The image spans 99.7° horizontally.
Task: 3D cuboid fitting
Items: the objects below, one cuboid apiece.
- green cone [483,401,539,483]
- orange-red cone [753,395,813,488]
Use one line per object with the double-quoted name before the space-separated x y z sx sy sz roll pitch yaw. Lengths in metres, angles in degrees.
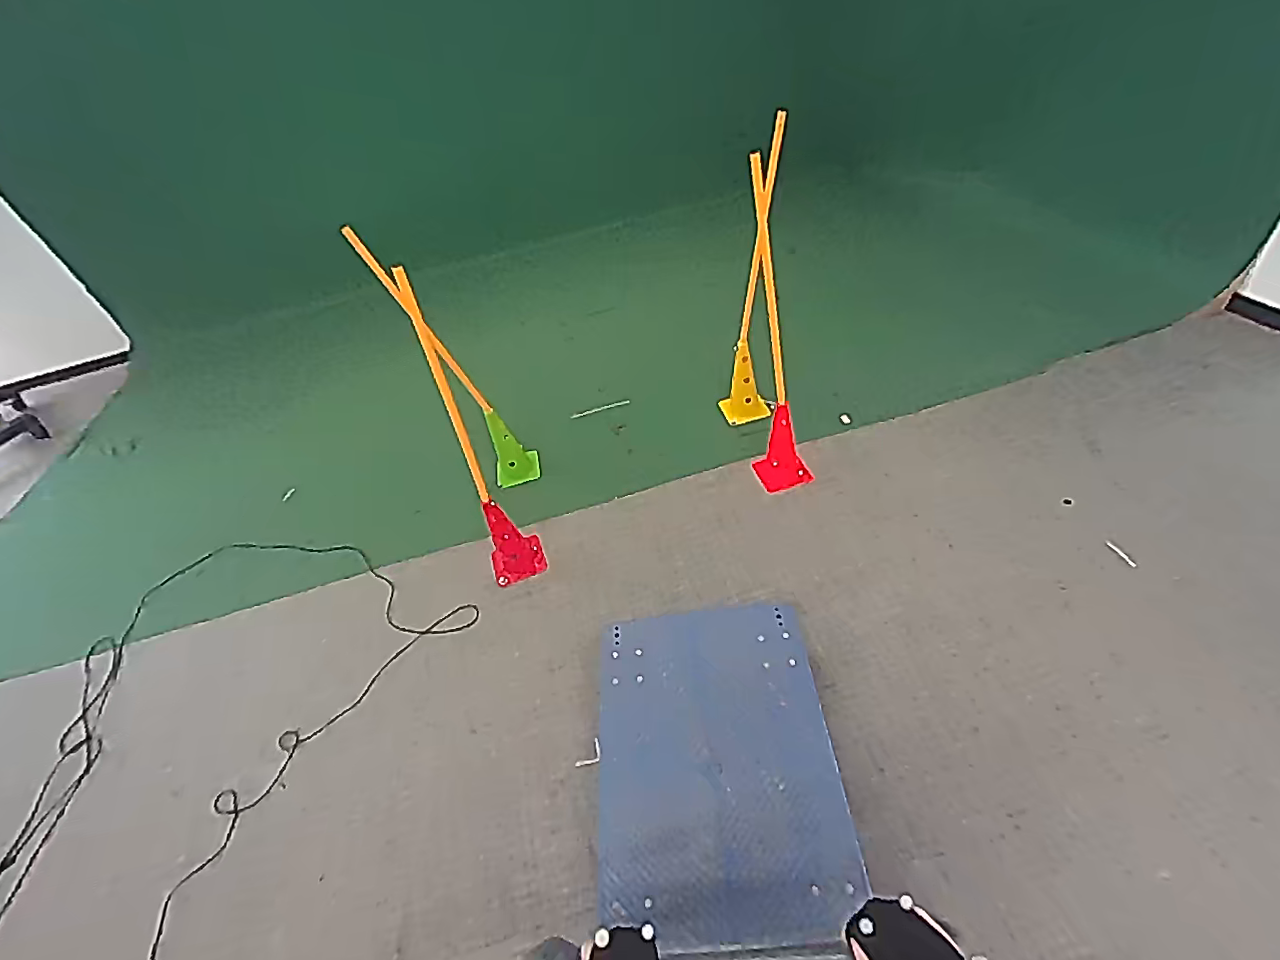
"green cone" -0.601 -0.191 2.389 0.200 0.368 0.202 -17 43 -2
"orange-red cone" 0.550 -0.172 2.087 0.198 0.360 0.199 -16 42 -3
